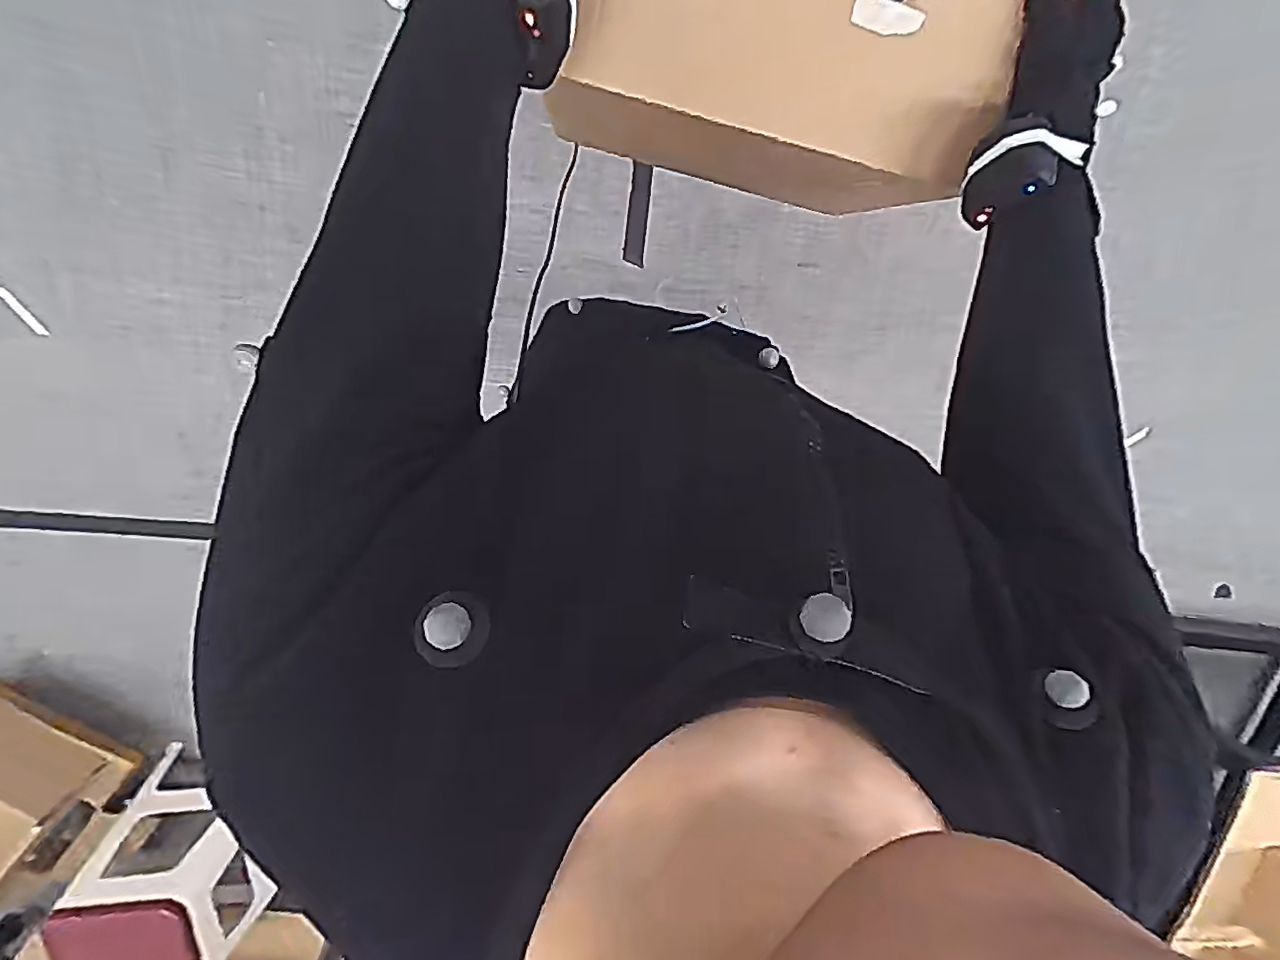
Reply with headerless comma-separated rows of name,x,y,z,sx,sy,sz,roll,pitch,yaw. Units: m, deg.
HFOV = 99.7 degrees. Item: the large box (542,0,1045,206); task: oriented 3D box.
large box,0.130,-0.499,0.547,0.408,0.320,0.320,10,113,-9
